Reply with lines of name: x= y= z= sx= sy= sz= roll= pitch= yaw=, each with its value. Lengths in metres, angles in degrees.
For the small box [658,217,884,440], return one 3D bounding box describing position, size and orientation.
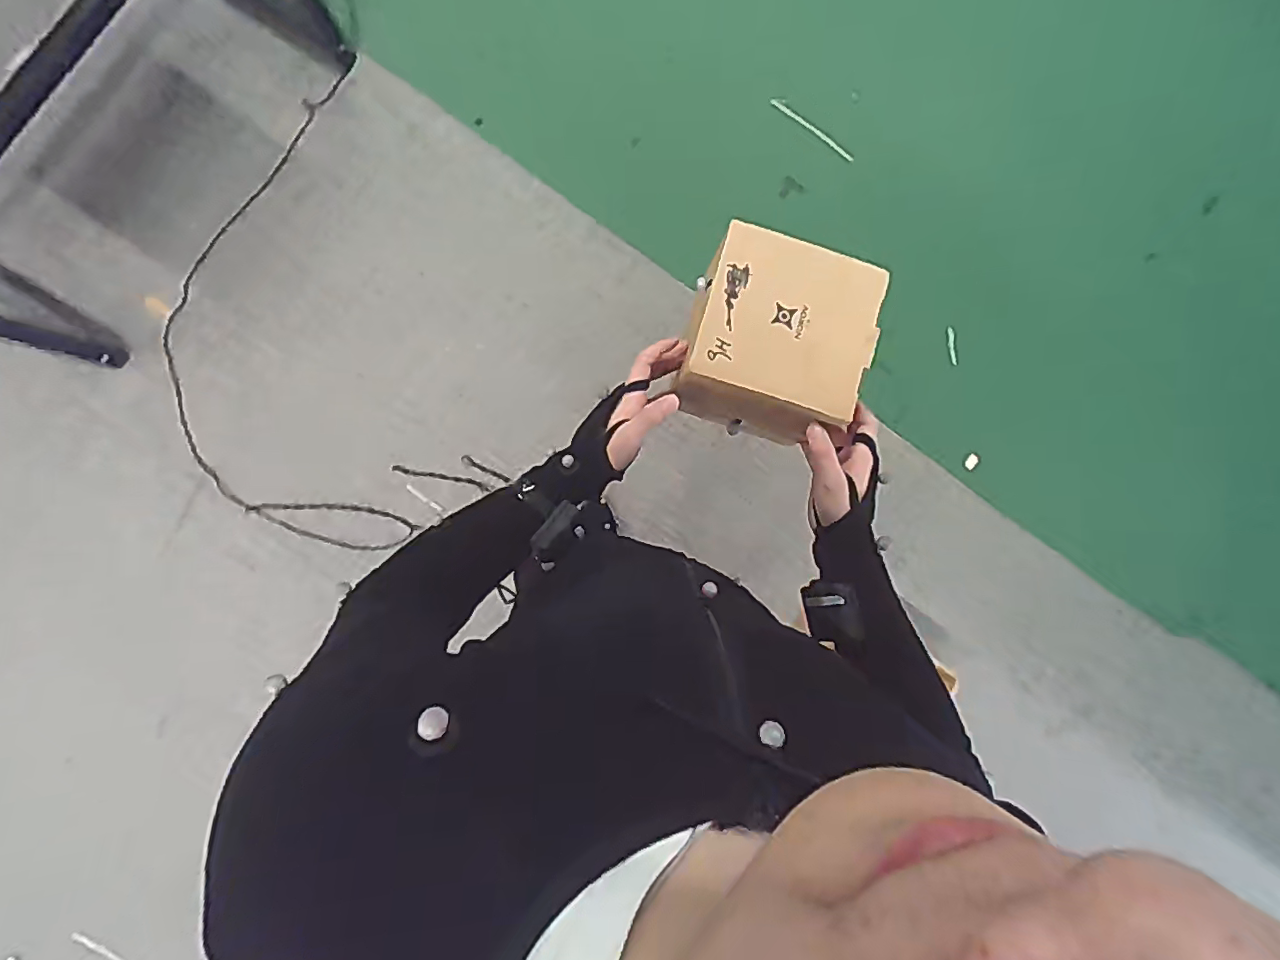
small box: x=0.134 y=-0.152 z=0.611 sx=0.179 sy=0.176 sz=0.168 roll=18 pitch=82 yaw=-5
